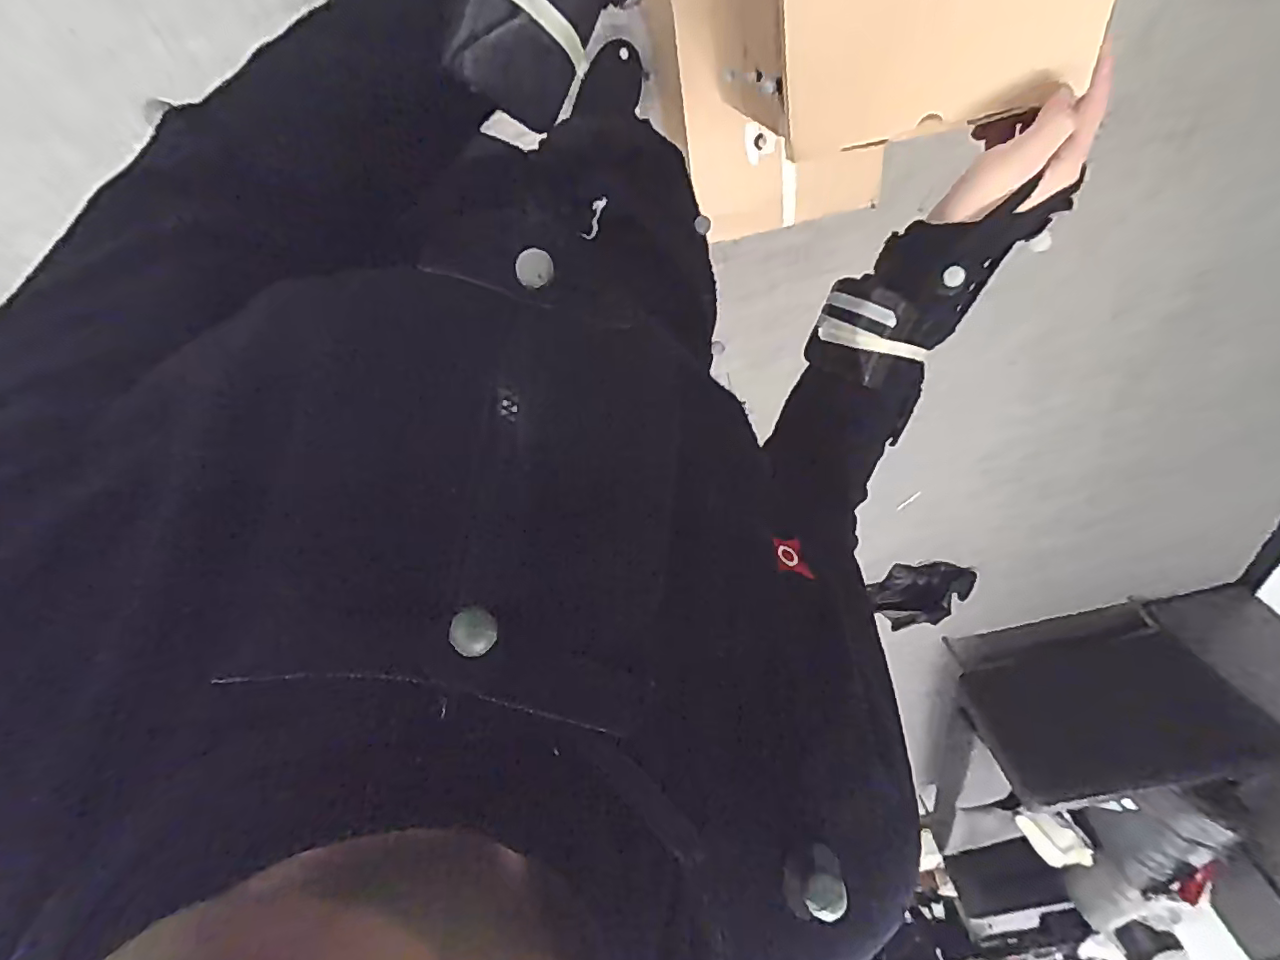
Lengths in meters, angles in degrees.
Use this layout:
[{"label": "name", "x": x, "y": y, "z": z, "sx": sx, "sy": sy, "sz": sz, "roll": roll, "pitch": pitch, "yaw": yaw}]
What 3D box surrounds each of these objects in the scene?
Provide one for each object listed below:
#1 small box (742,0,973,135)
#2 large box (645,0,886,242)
[{"label": "small box", "x": 0.204, "y": -0.470, "z": 0.543, "sx": 0.179, "sy": 0.176, "sz": 0.168, "roll": -11, "pitch": 134, "yaw": 0}, {"label": "large box", "x": 0.199, "y": -0.683, "z": 0.900, "sx": 0.320, "sy": 0.320, "sz": 0.408, "roll": -12, "pitch": 133, "yaw": 4}]
